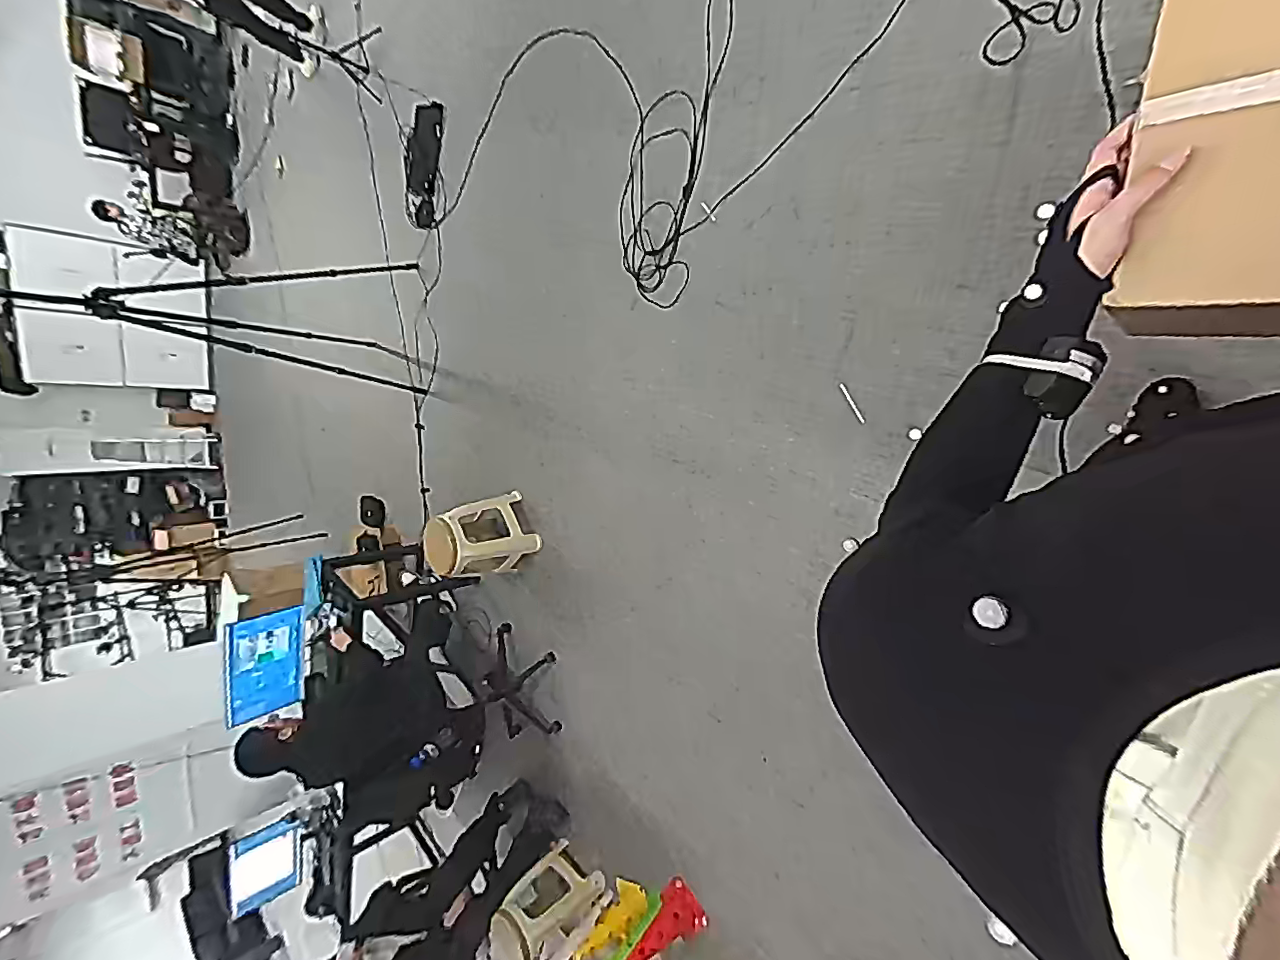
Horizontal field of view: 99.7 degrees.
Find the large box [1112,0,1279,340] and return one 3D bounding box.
[{"bbox_3d":[0.679,-0.292,0.441,0.408,0.320,0.320,13,104,42],"label":"large box"}]
